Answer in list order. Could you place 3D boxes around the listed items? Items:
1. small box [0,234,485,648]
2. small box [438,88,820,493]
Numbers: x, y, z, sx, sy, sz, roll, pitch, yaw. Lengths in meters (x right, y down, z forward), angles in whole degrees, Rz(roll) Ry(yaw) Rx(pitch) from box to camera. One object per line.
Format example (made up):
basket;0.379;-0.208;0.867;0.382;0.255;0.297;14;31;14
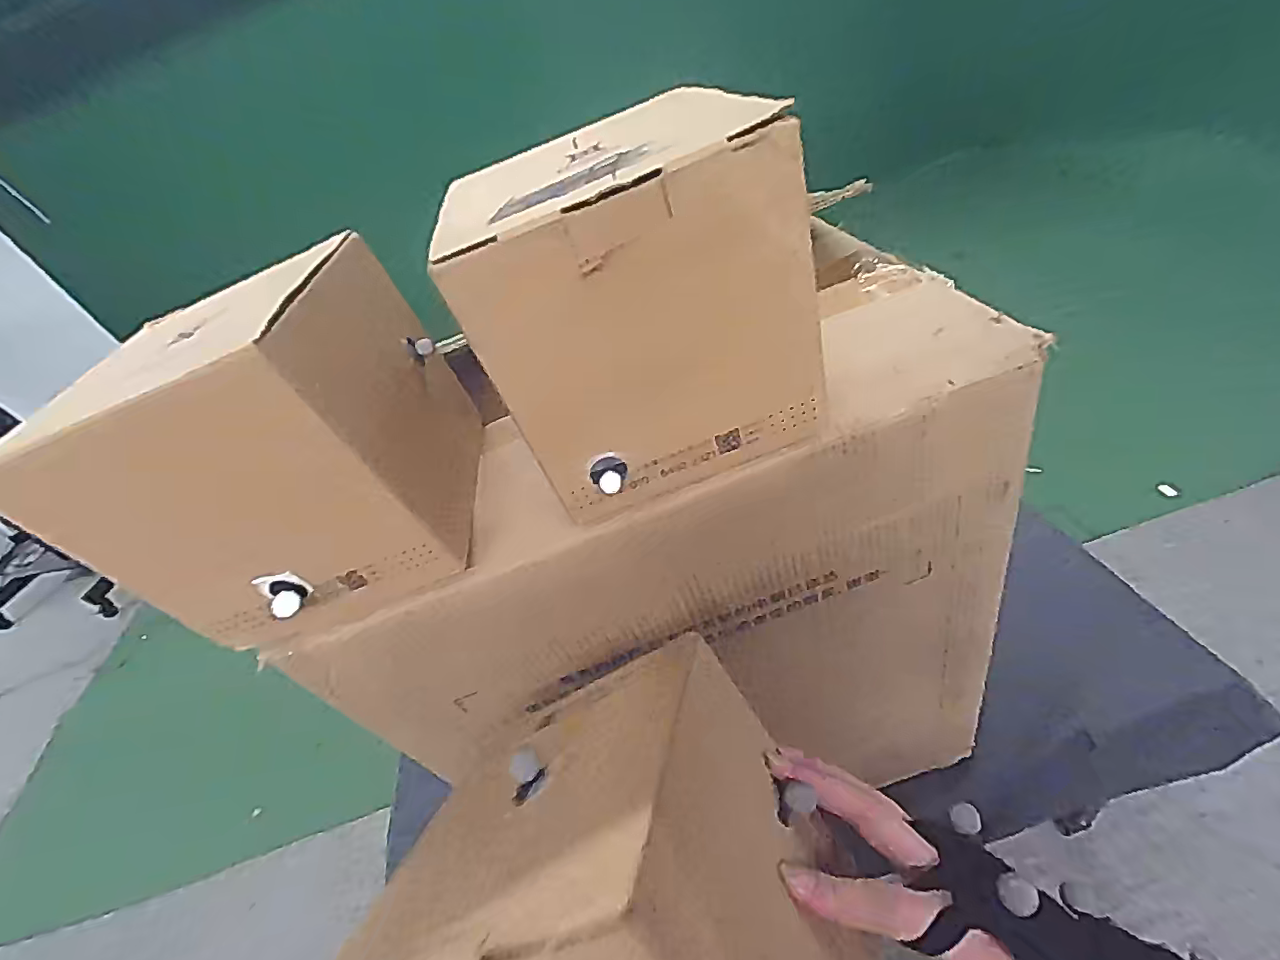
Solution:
small box;-0.216;-0.025;0.353;0.168;0.176;0.179;-23;41;5
small box;-0.003;-0.112;0.340;0.168;0.176;0.179;-21;39;2
